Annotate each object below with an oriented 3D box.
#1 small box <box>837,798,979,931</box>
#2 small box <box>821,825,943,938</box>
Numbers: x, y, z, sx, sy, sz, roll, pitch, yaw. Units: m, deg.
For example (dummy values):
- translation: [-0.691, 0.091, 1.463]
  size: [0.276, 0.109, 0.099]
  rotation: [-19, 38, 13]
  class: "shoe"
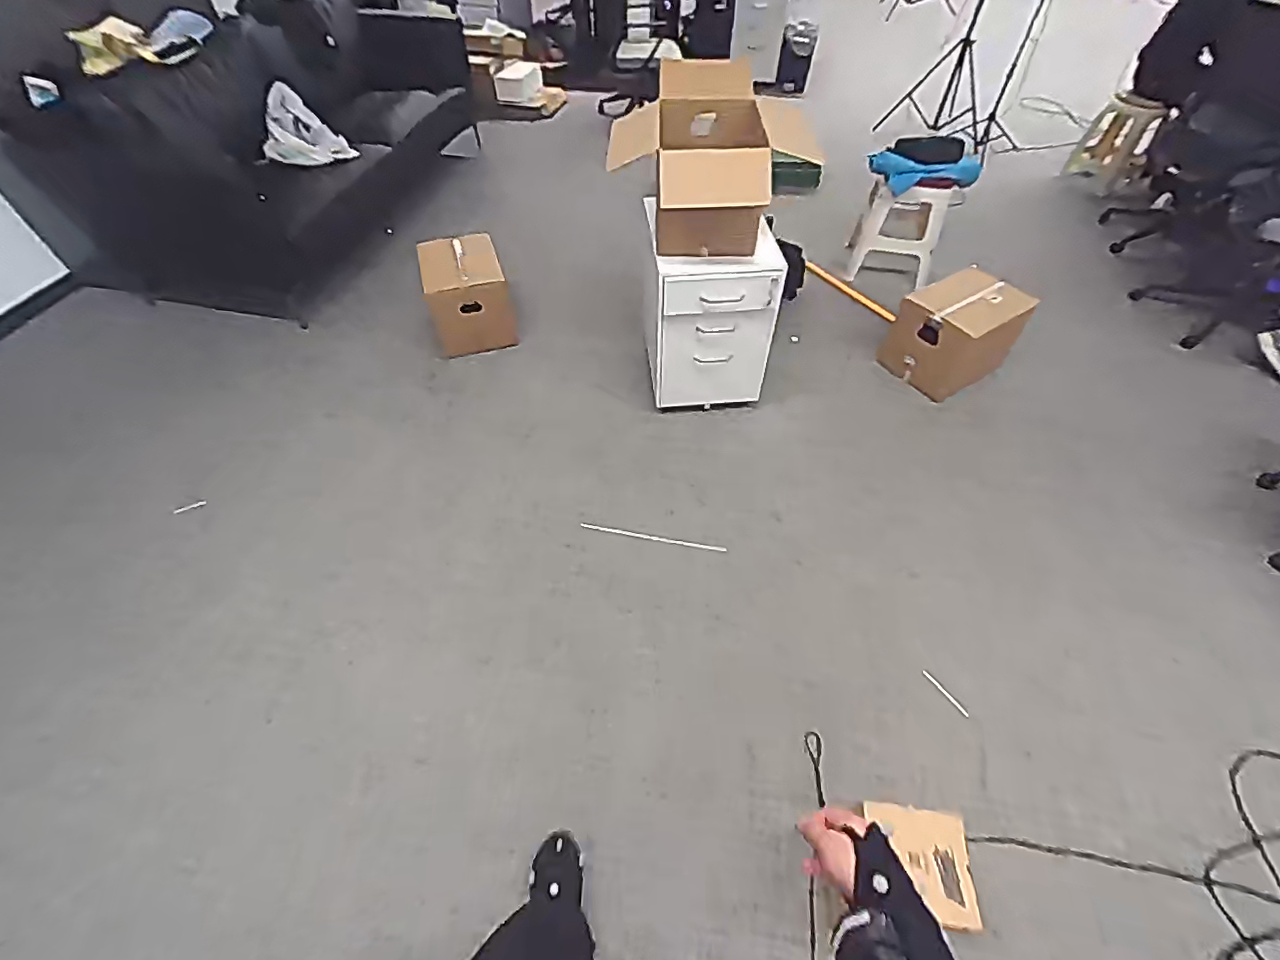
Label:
- translation: [0.476, 0.704, 0.992]
  size: [0.179, 0.176, 0.168]
  rotation: [6, 50, 7]
  class: "small box"
- translation: [0.479, 0.822, 1.106]
  size: [0.179, 0.176, 0.168]
  rotation: [4, 51, 3]
  class: "small box"
